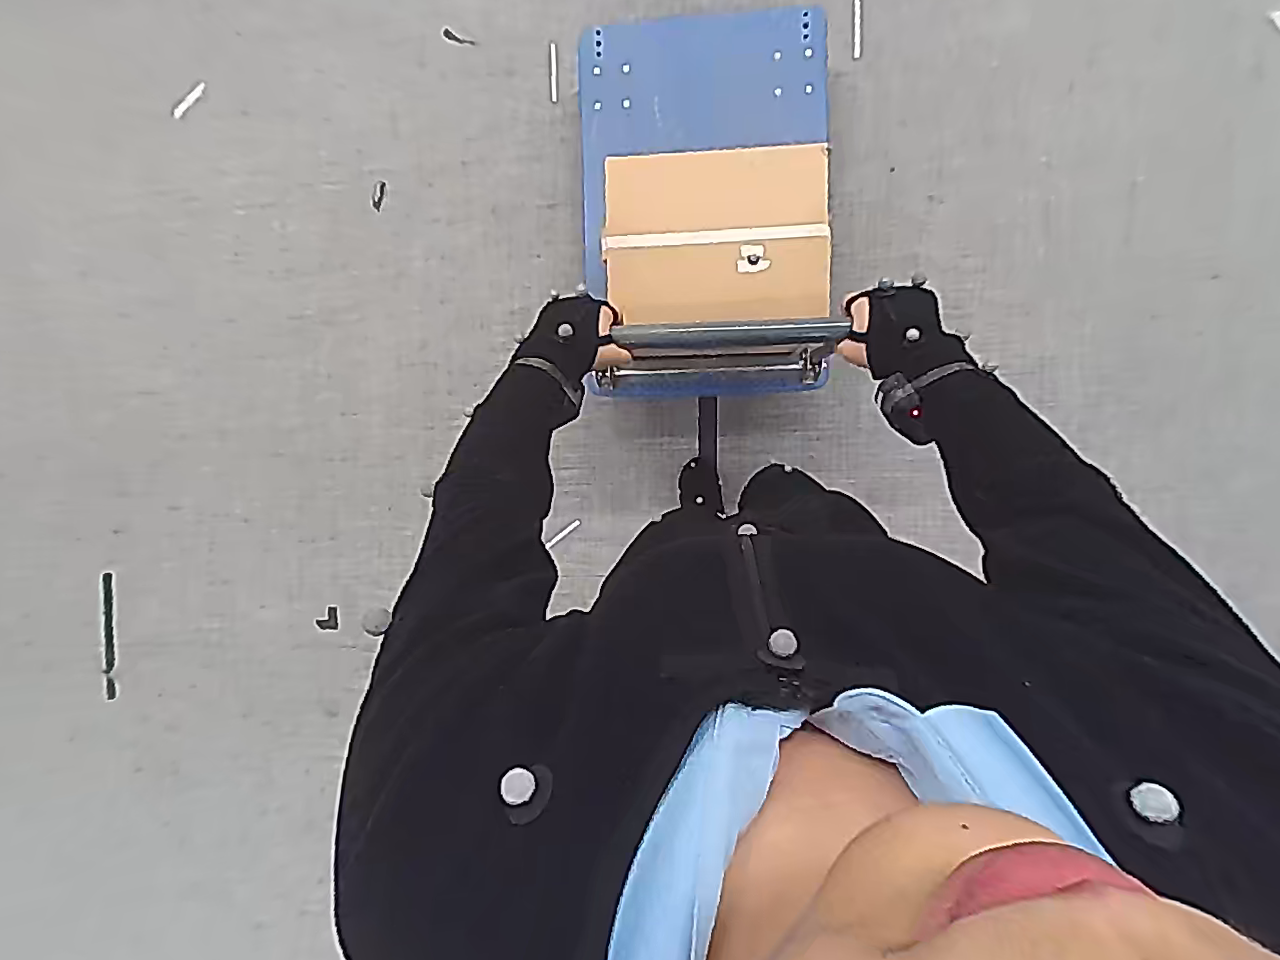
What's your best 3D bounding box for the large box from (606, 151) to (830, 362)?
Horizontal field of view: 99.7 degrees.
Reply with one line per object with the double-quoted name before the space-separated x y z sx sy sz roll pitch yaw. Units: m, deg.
"large box" 0.148 -0.433 1.126 0.408 0.320 0.320 -1 93 4
